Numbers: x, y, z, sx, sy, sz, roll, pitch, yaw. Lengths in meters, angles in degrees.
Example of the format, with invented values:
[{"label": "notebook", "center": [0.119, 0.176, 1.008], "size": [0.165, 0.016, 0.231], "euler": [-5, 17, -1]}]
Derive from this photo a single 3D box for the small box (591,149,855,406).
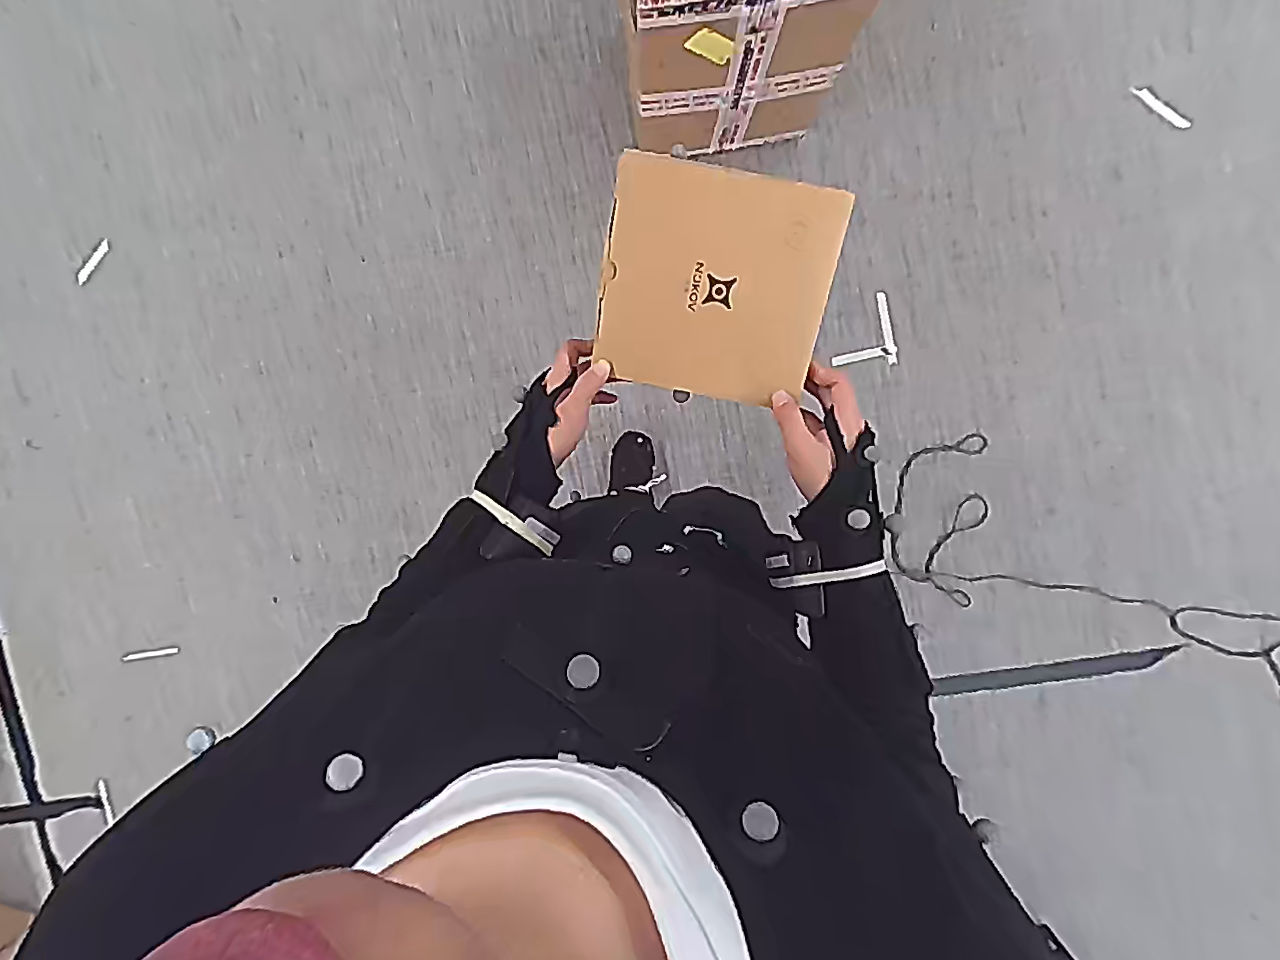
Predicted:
[{"label": "small box", "center": [0.066, -0.178, 0.495], "size": [0.179, 0.176, 0.168], "euler": [12, 110, 3]}]
